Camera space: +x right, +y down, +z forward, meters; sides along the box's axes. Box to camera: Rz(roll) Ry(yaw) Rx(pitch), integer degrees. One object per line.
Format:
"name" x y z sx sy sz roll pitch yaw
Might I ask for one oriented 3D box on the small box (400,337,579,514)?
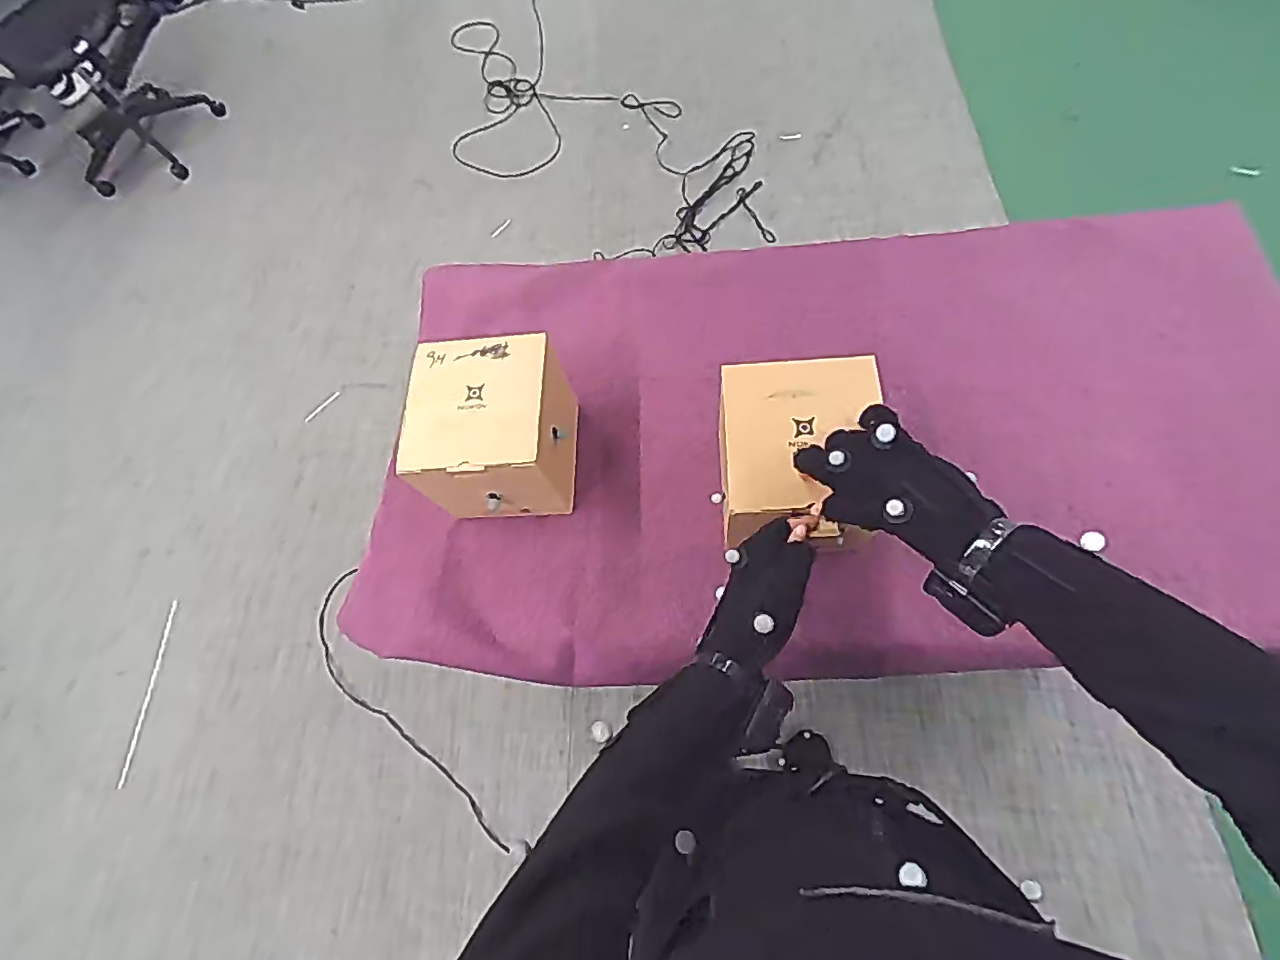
"small box" -0.179 -0.059 0.699 0.168 0.176 0.179 -3 68 7

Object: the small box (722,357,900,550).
"small box" 0.182 -0.019 0.631 0.168 0.176 0.179 -2 67 7
